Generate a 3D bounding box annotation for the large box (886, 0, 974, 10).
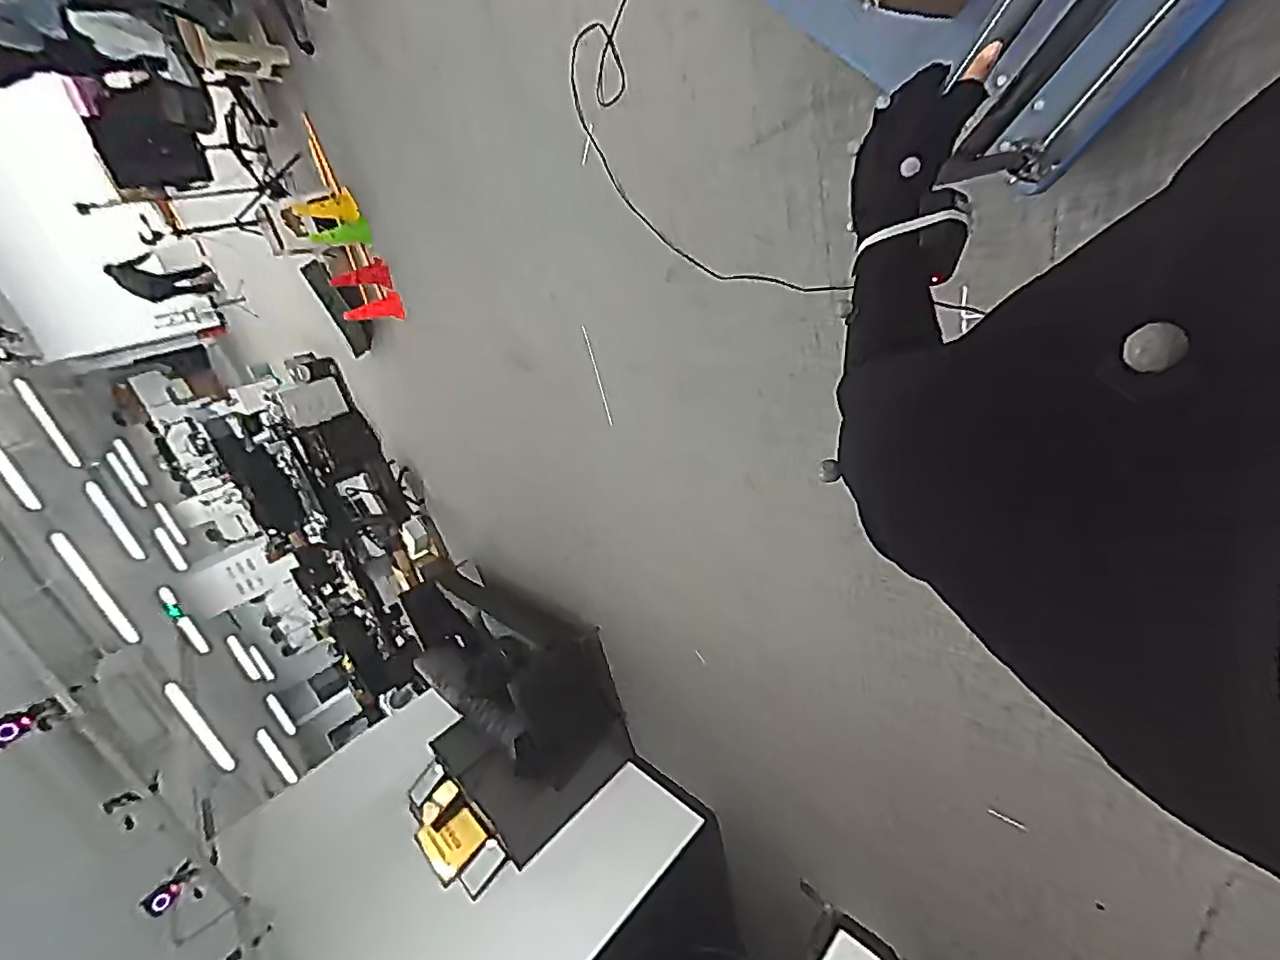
[{"bbox_3d":[0.439,-0.988,0.768,0.320,0.320,0.408,49,145,16],"label":"large box"}]
